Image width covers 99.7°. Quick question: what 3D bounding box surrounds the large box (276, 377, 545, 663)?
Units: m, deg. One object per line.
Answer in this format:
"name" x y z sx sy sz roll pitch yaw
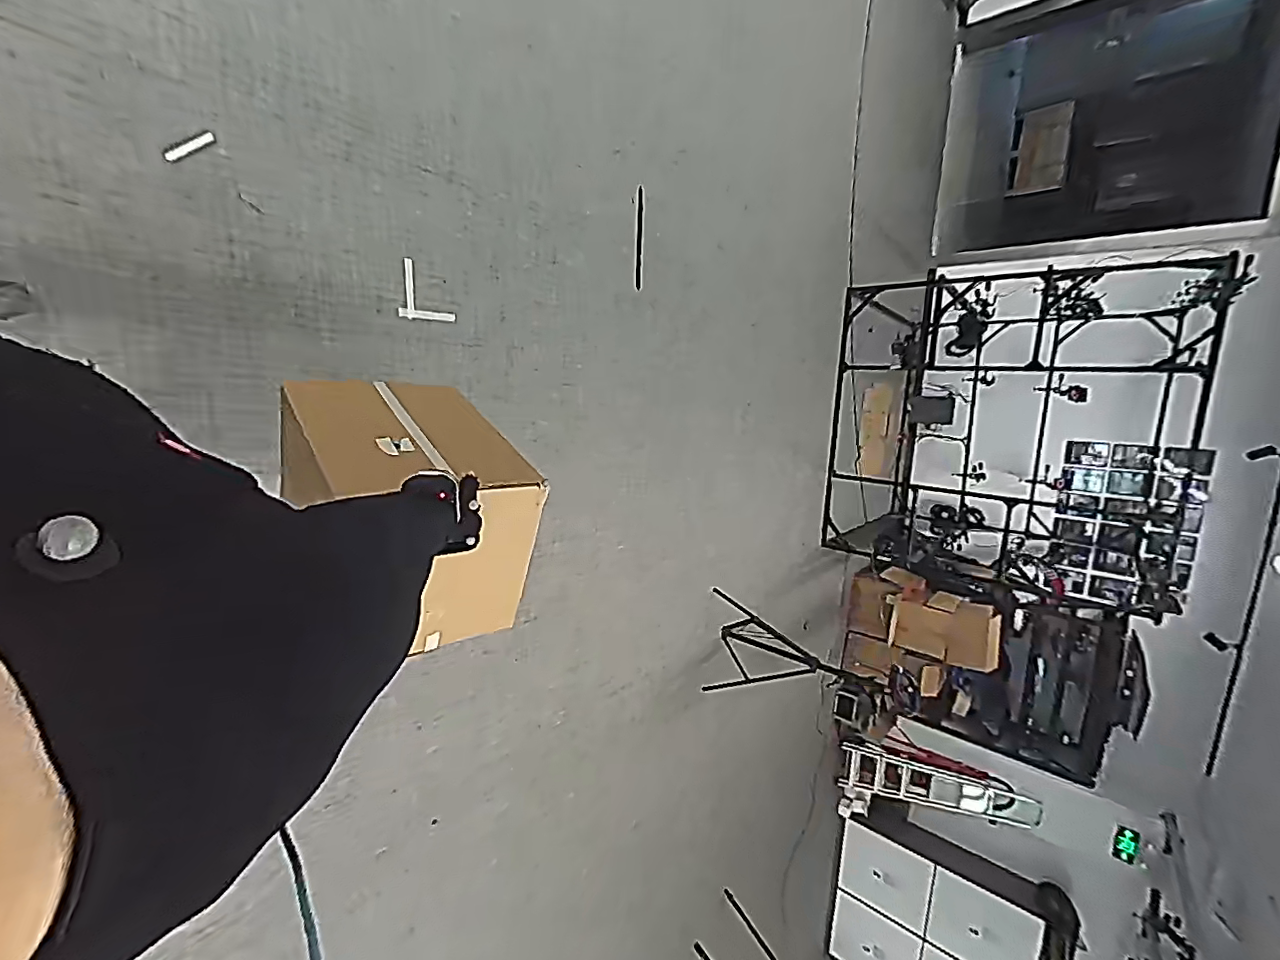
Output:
"large box" -0.434 0.045 0.976 0.320 0.408 0.320 -5 125 -41
